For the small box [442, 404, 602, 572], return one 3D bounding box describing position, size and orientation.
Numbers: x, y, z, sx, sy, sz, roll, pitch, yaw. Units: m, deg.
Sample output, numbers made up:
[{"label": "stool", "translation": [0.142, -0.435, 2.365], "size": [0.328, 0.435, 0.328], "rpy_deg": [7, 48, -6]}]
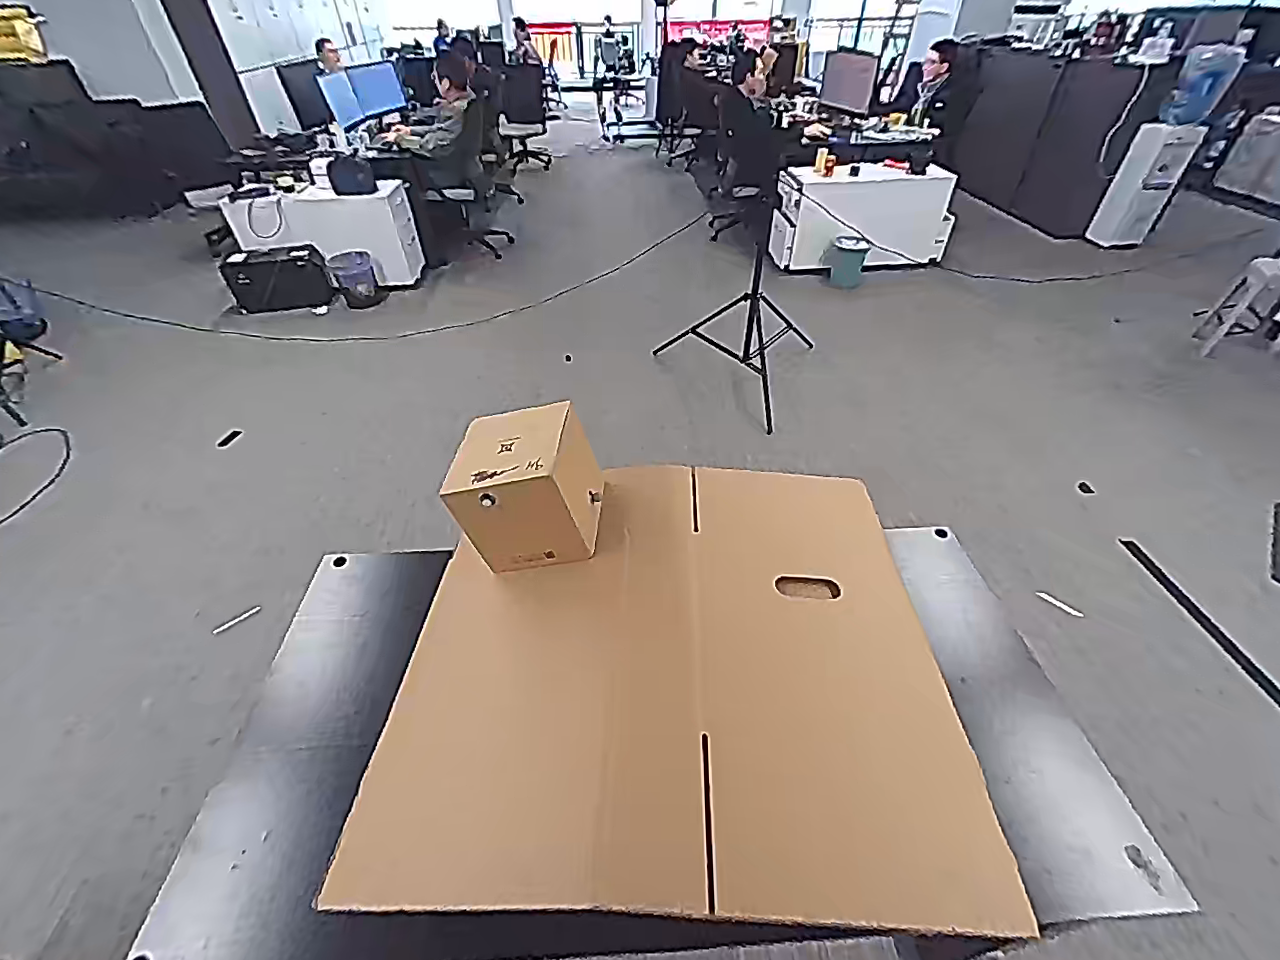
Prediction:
[{"label": "small box", "translation": [-0.162, 0.013, 0.817], "size": [0.168, 0.176, 0.179], "rpy_deg": [-11, 39, 12]}]
